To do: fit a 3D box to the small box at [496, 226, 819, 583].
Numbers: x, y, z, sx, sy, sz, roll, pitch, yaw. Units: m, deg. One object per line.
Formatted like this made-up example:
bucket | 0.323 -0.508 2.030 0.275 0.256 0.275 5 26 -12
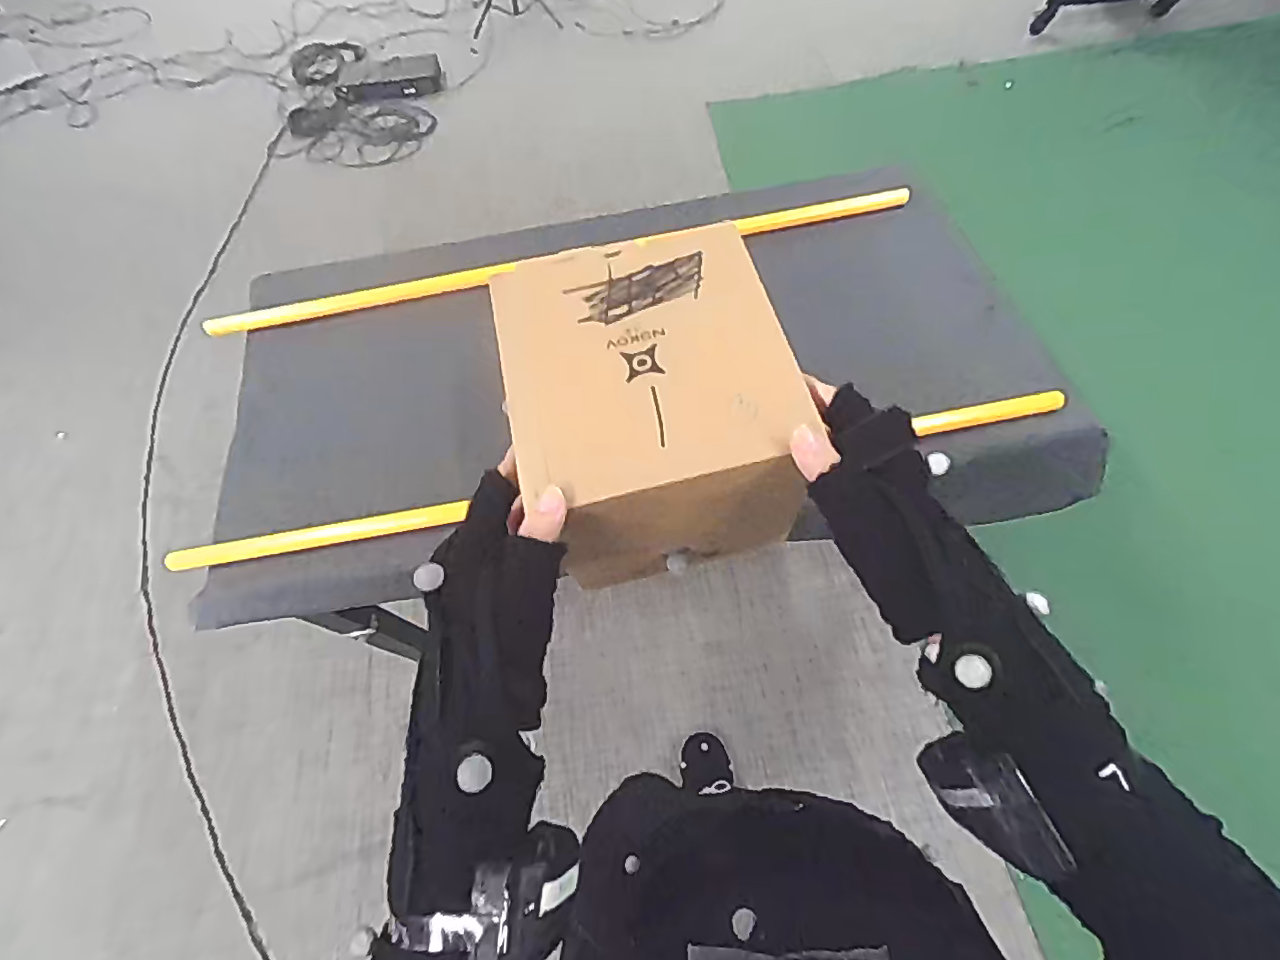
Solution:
small box | 0.007 -0.043 0.396 0.168 0.176 0.179 -14 64 0
